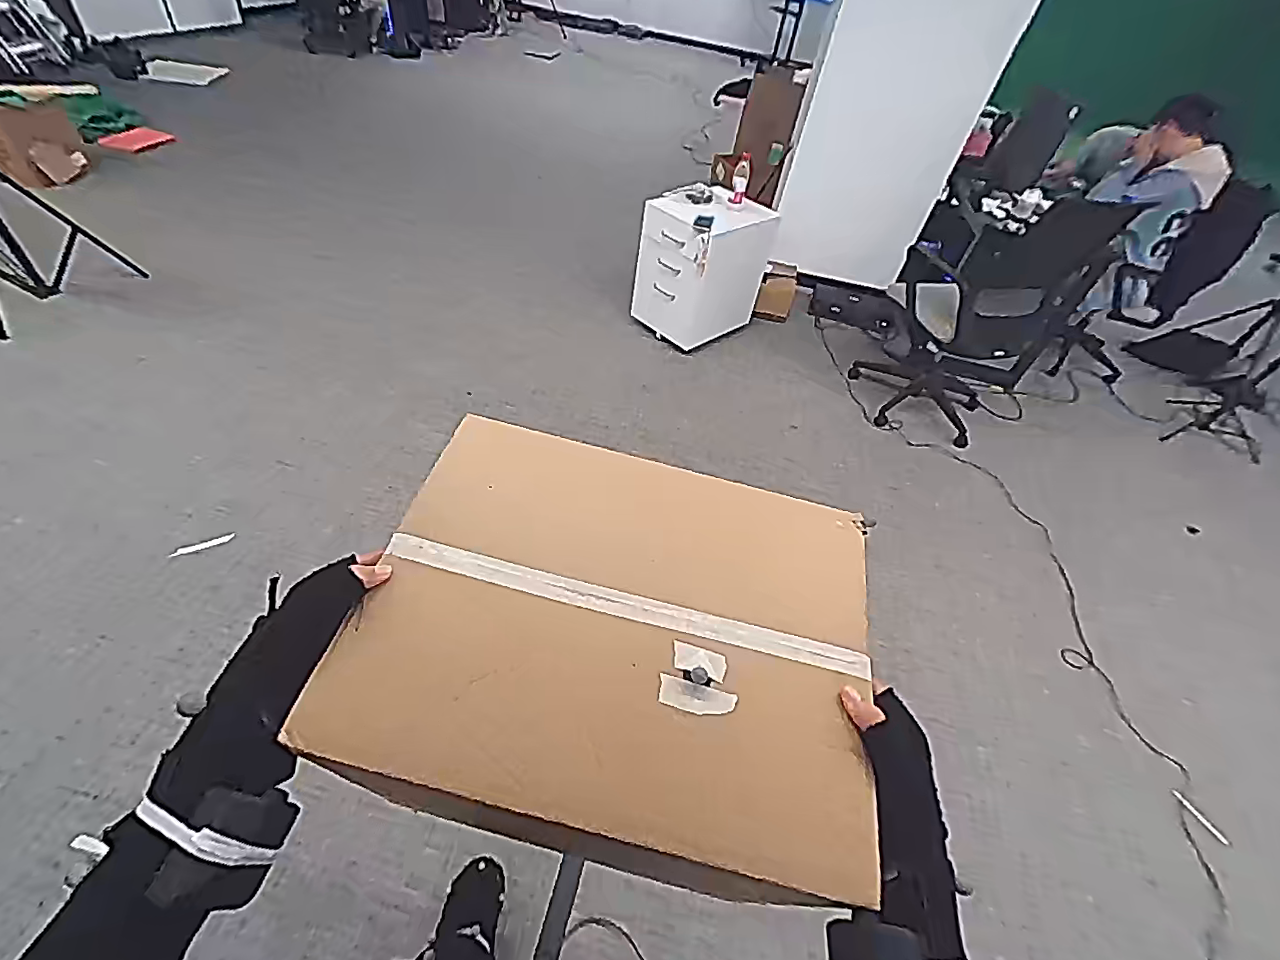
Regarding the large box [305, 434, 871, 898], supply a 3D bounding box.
[{"bbox_3d":[-0.030,0.203,0.570,0.408,0.320,0.320,15,53,1],"label":"large box"}]
